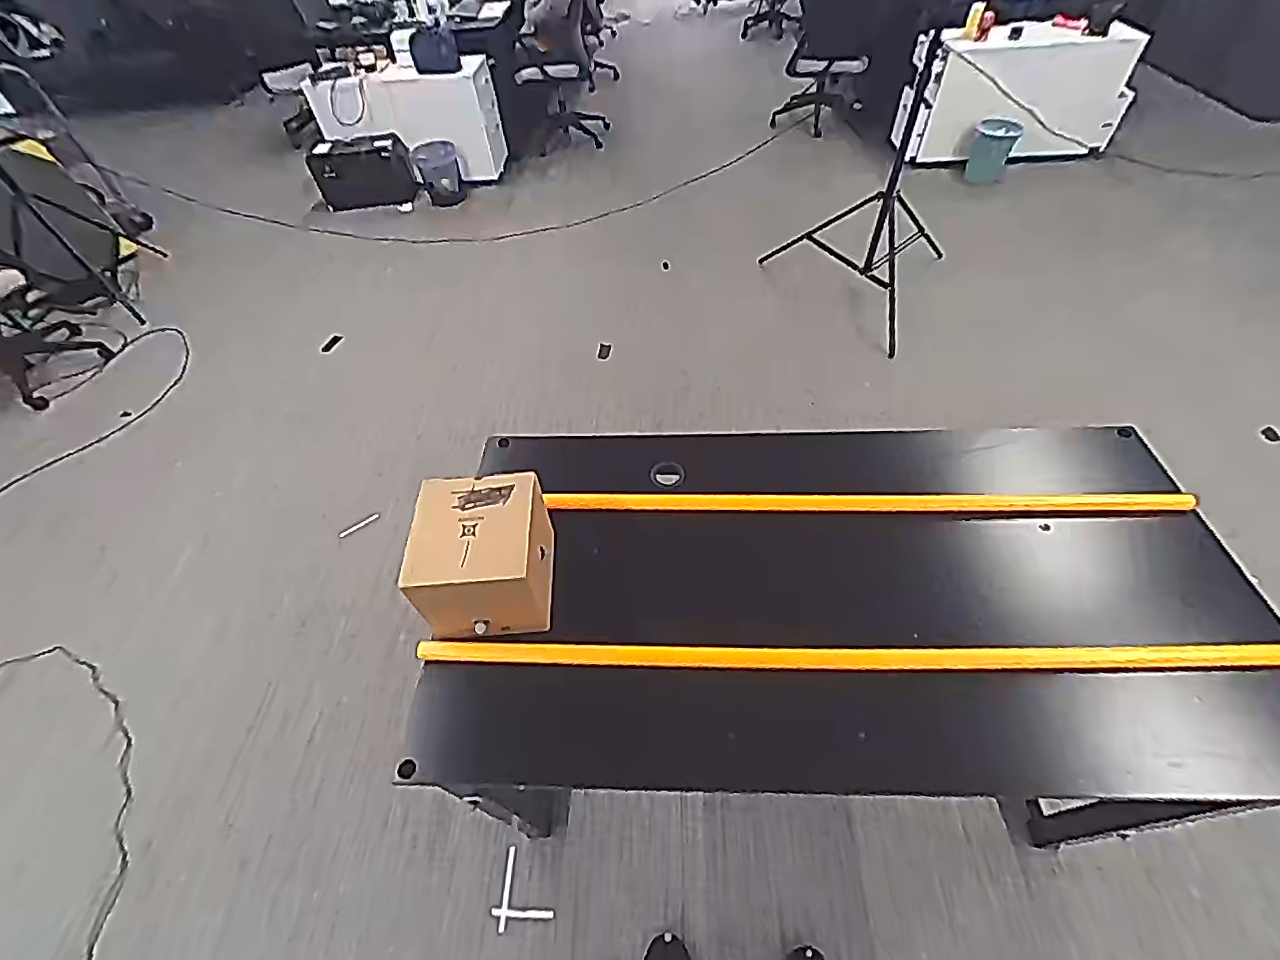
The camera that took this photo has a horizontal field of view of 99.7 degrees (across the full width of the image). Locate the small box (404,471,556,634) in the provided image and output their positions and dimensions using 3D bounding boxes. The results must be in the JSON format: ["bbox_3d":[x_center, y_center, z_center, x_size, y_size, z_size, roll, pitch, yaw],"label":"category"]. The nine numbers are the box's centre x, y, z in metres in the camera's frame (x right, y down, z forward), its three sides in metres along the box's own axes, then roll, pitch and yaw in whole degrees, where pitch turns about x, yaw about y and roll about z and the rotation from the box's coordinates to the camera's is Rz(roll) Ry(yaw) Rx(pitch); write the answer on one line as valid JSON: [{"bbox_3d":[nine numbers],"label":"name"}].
[{"bbox_3d":[-0.222,0.109,0.801,0.168,0.176,0.179,-4,52,0],"label":"small box"}]
